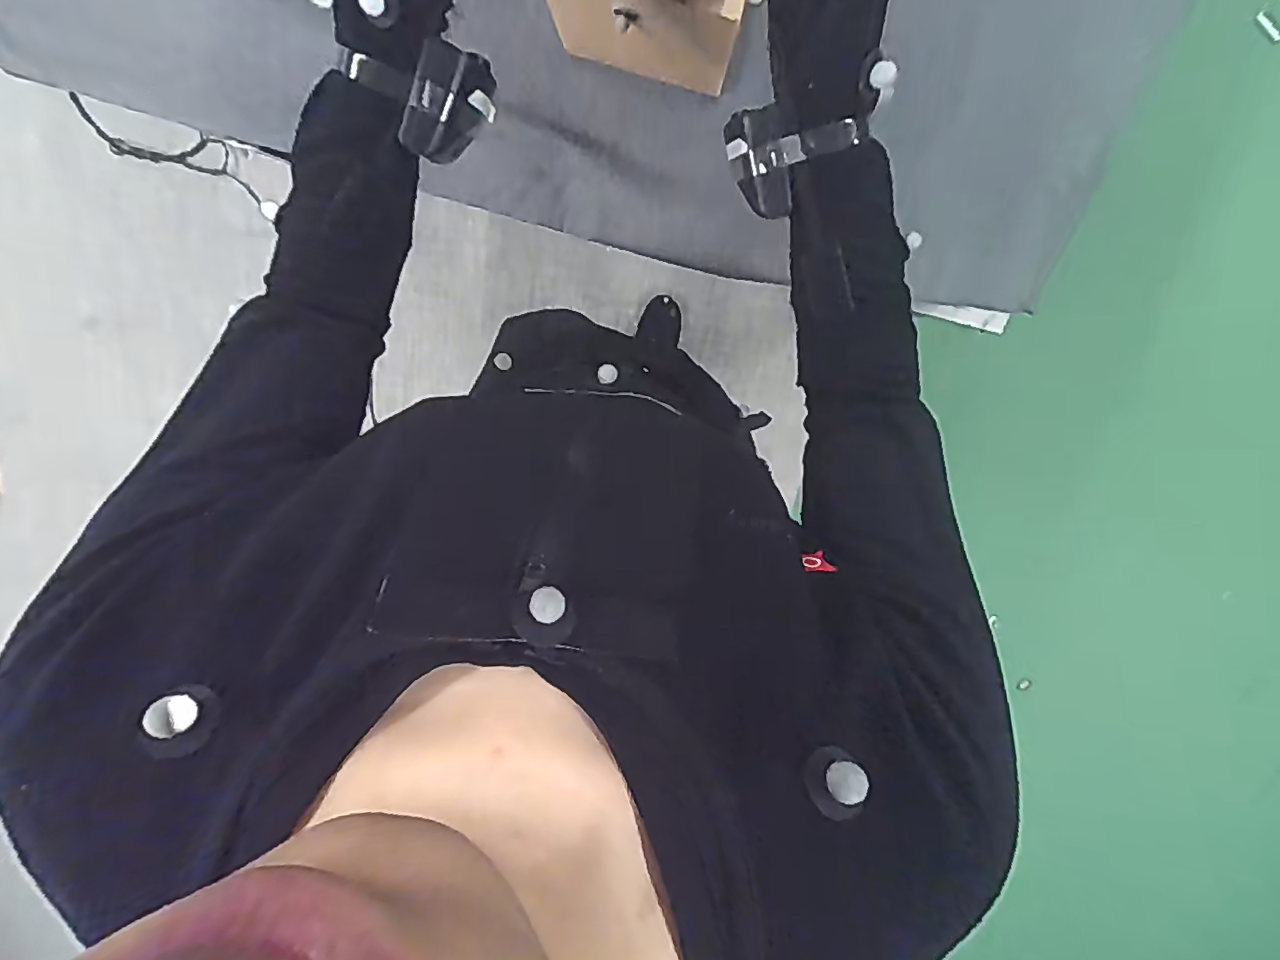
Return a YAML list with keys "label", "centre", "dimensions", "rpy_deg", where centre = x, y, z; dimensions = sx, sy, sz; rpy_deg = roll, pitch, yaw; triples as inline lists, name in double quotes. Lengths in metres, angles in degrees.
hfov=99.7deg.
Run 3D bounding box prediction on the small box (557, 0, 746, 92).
- label: "small box"
  centre: [0.021, -0.495, 0.495]
  dimensions: [0.179, 0.176, 0.168]
  rpy_deg: [15, 107, -3]
